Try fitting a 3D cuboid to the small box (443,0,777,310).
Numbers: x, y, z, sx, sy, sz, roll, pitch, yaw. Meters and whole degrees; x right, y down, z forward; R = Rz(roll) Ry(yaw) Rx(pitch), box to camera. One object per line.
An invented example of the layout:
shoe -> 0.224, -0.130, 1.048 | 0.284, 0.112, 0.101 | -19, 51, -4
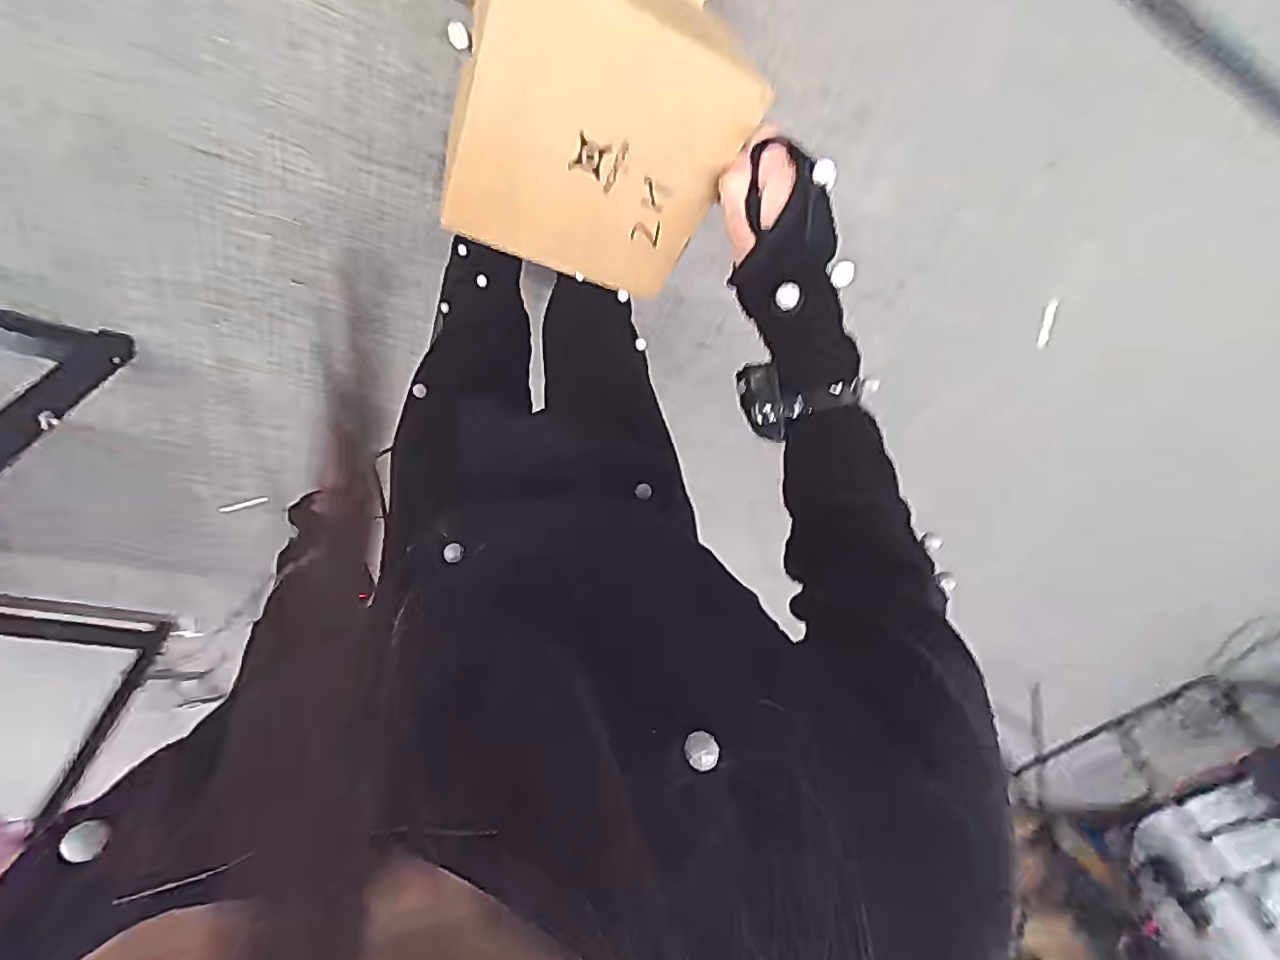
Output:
small box -> -0.037, -0.264, 0.401 | 0.179, 0.176, 0.168 | 9, 140, -27
